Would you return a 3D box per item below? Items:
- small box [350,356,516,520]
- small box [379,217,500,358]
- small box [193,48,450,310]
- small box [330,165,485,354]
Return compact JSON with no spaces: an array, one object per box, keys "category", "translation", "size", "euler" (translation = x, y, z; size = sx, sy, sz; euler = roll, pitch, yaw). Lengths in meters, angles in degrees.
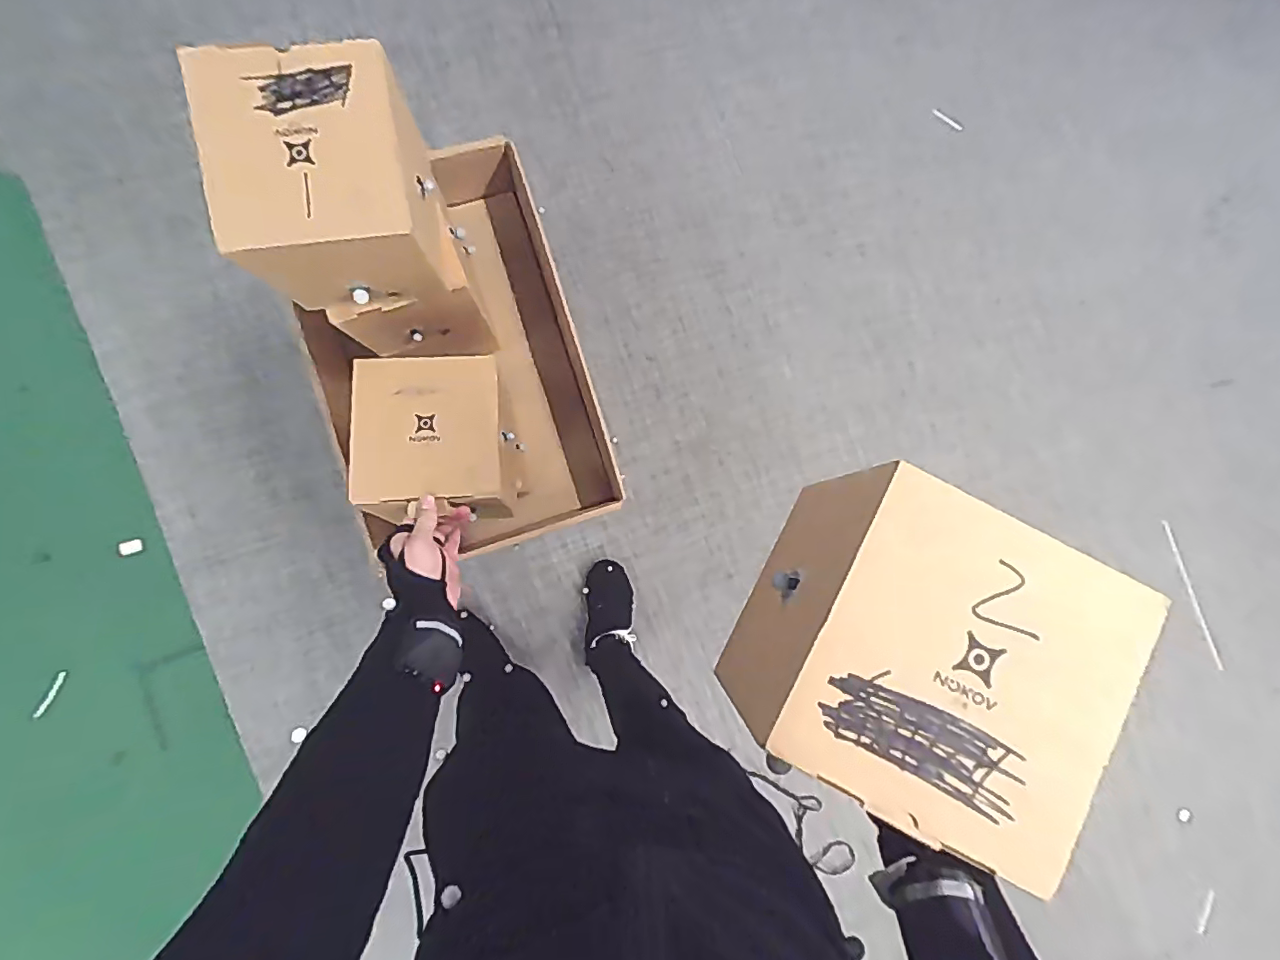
[{"category":"small box","translation":[-0.254,-0.044,0.704],"size":[0.168,0.176,0.179],"euler":[-2,76,-7]},{"category":"small box","translation":[-0.341,-0.290,0.885],"size":[0.168,0.176,0.179],"euler":[-18,92,-6]},{"category":"small box","translation":[-0.307,-0.295,0.560],"size":[0.168,0.176,0.179],"euler":[-9,92,-7]},{"category":"small box","translation":[-0.322,-0.290,0.724],"size":[0.168,0.176,0.179],"euler":[-19,92,-7]}]
